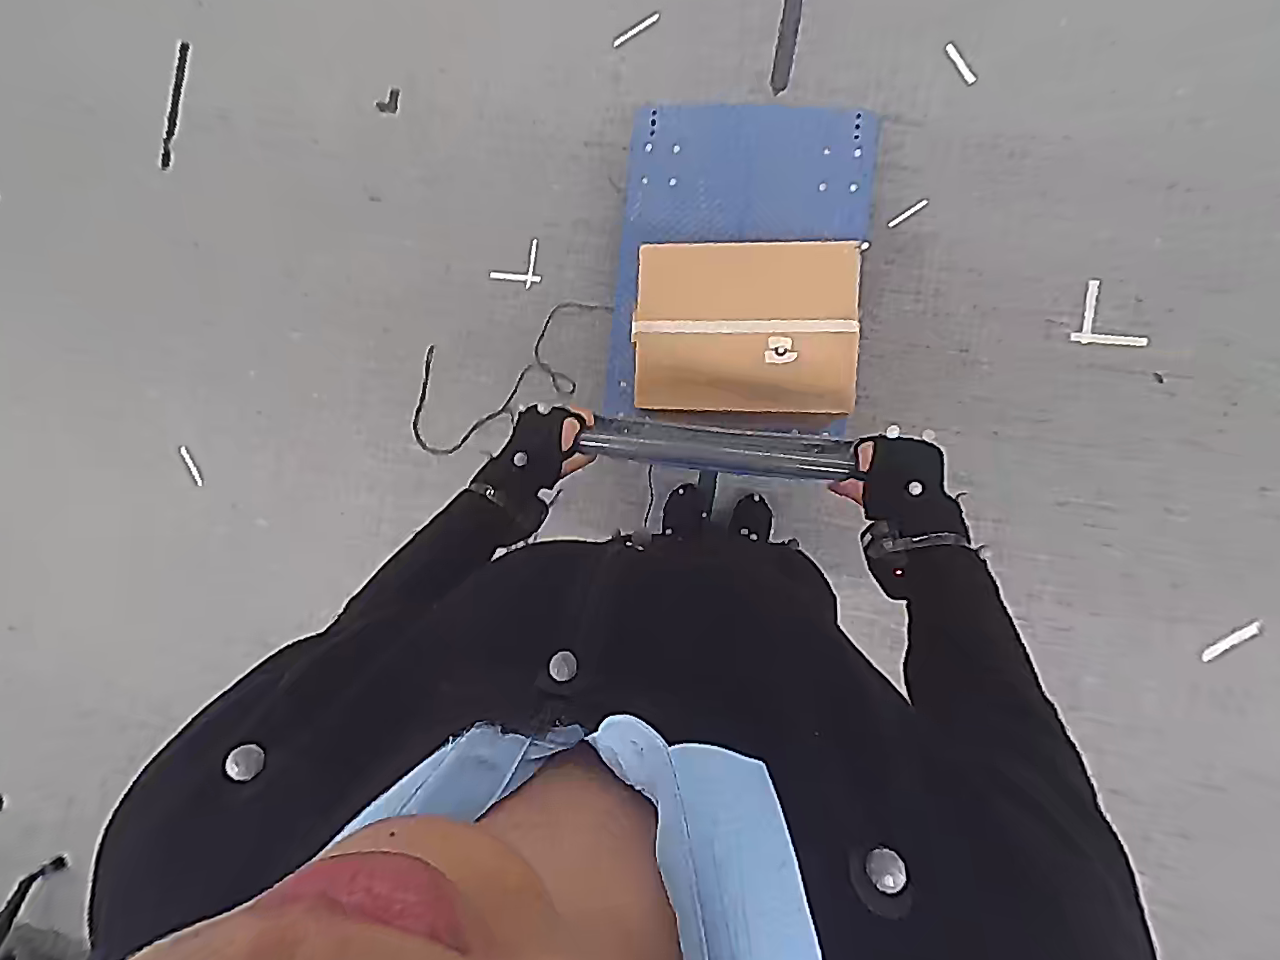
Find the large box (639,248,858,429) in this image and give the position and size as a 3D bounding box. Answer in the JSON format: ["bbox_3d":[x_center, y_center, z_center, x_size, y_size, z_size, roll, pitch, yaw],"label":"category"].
[{"bbox_3d":[0.213,-0.277,1.158,0.408,0.320,0.320,2,91,6],"label":"large box"}]
